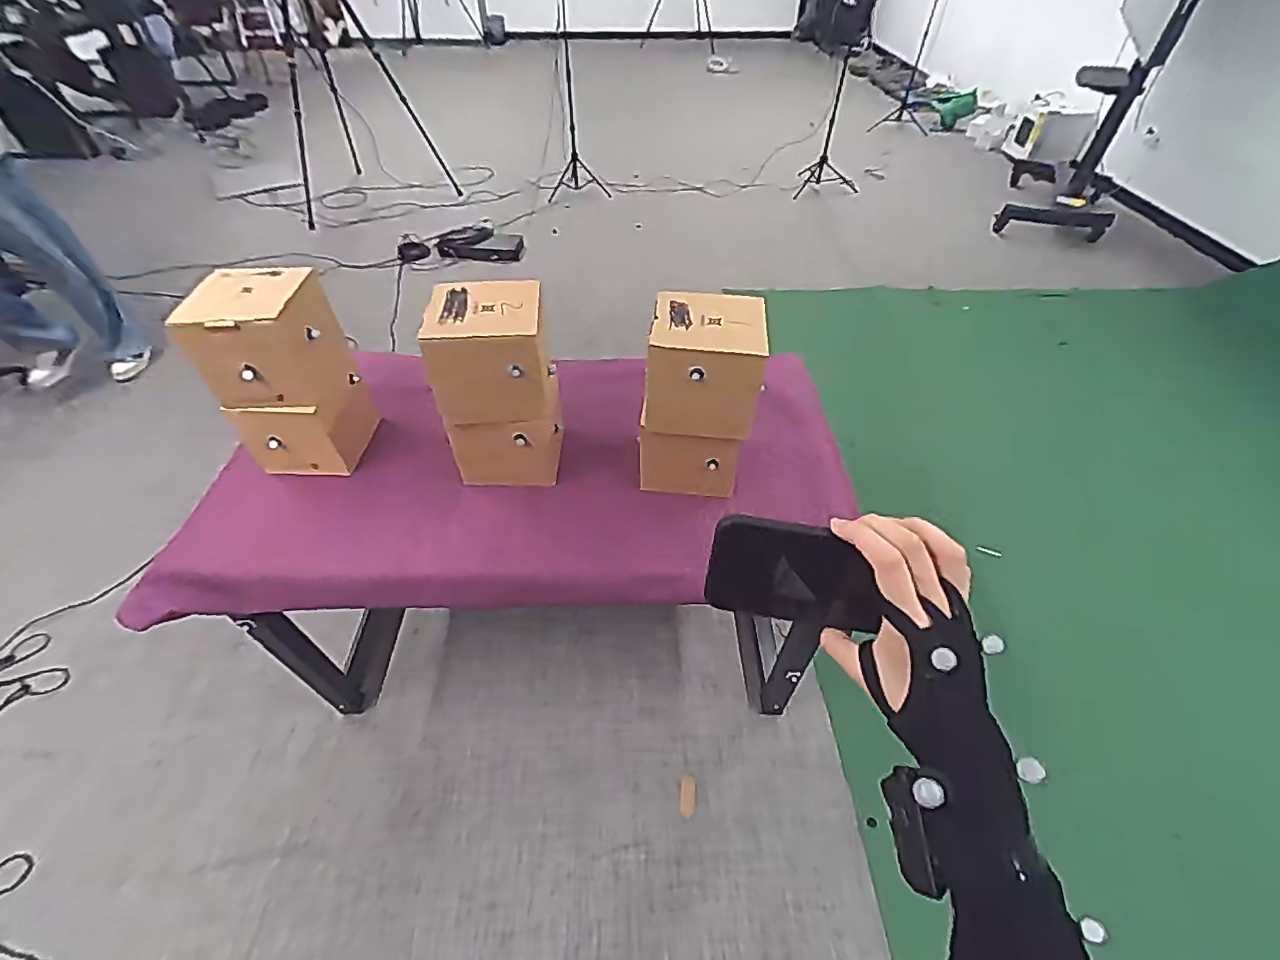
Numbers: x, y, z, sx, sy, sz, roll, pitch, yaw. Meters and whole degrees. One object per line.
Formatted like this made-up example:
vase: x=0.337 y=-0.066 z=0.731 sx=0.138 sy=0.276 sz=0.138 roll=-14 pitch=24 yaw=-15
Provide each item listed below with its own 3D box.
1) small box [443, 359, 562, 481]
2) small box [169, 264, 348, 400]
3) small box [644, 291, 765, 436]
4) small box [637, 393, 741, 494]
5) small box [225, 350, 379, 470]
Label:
small box: x=-0.248 y=-0.110 z=1.030 sx=0.179 sy=0.176 sz=0.168 roll=1 pitch=48 yaw=1
small box: x=-0.636 y=-0.252 z=0.933 sx=0.168 sy=0.176 sz=0.179 roll=-1 pitch=49 yaw=-3
small box: x=0.102 y=-0.189 z=0.887 sx=0.179 sy=0.176 sz=0.168 roll=6 pitch=48 yaw=4
small box: x=0.092 y=-0.090 z=1.018 sx=0.179 sy=0.176 sz=0.168 roll=6 pitch=48 yaw=5
small box: x=-0.638 y=-0.135 z=1.050 sx=0.168 sy=0.176 sz=0.179 roll=2 pitch=48 yaw=1
